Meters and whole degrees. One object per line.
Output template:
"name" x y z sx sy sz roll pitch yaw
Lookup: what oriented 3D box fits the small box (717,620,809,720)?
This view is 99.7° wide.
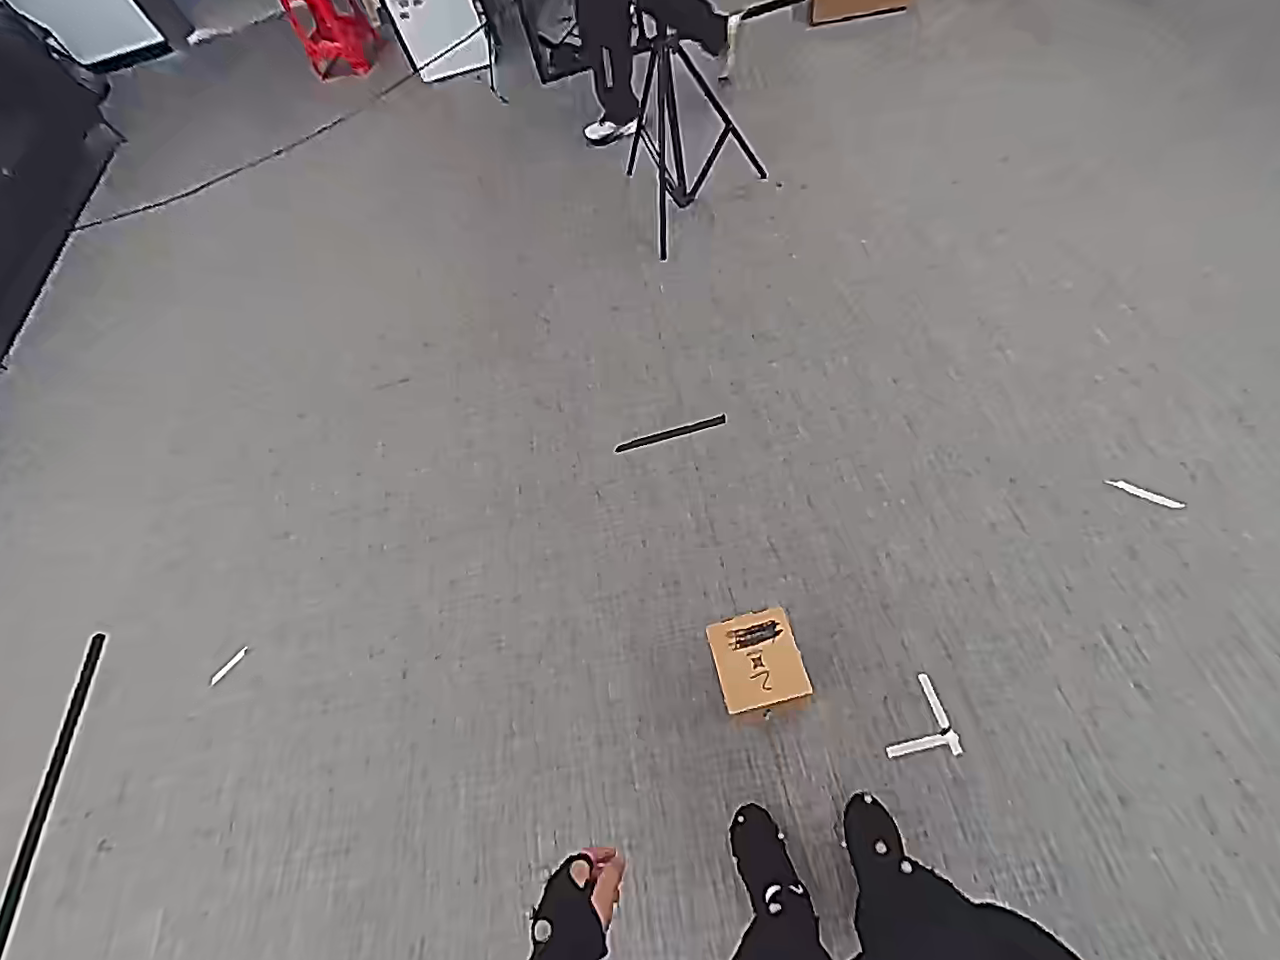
"small box" 0.285 0.453 1.277 0.168 0.176 0.179 -15 60 4
